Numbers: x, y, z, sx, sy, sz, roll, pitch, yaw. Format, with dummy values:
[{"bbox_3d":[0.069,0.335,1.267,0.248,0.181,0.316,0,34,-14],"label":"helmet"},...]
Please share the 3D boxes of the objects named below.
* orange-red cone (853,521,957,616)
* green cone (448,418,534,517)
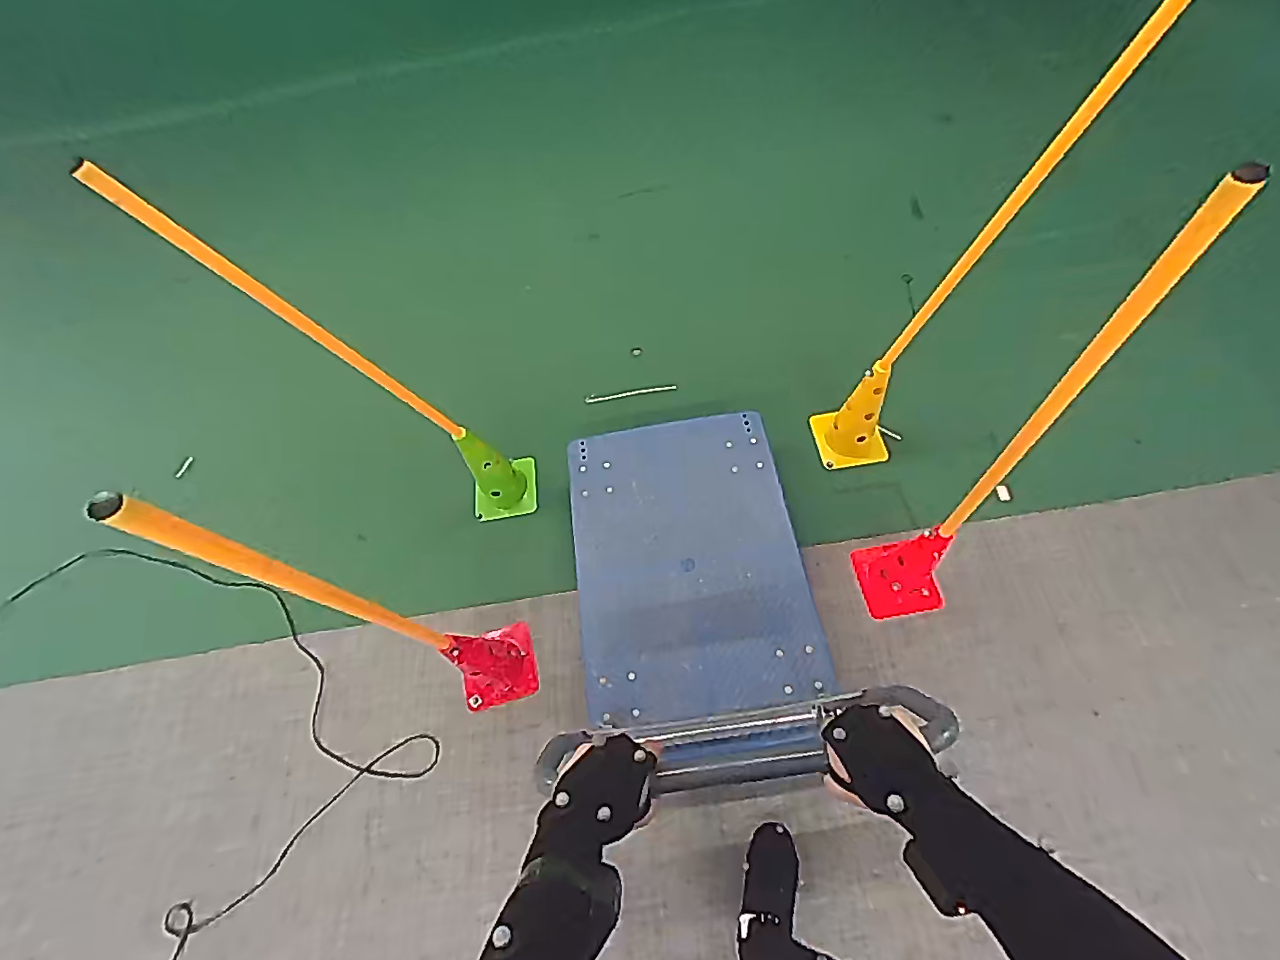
[{"bbox_3d":[0.679,0.184,1.316,0.198,0.360,0.199,-9,61,1],"label":"orange-red cone"},{"bbox_3d":[-0.457,-0.062,1.572,0.200,0.368,0.202,-10,62,2],"label":"green cone"}]
